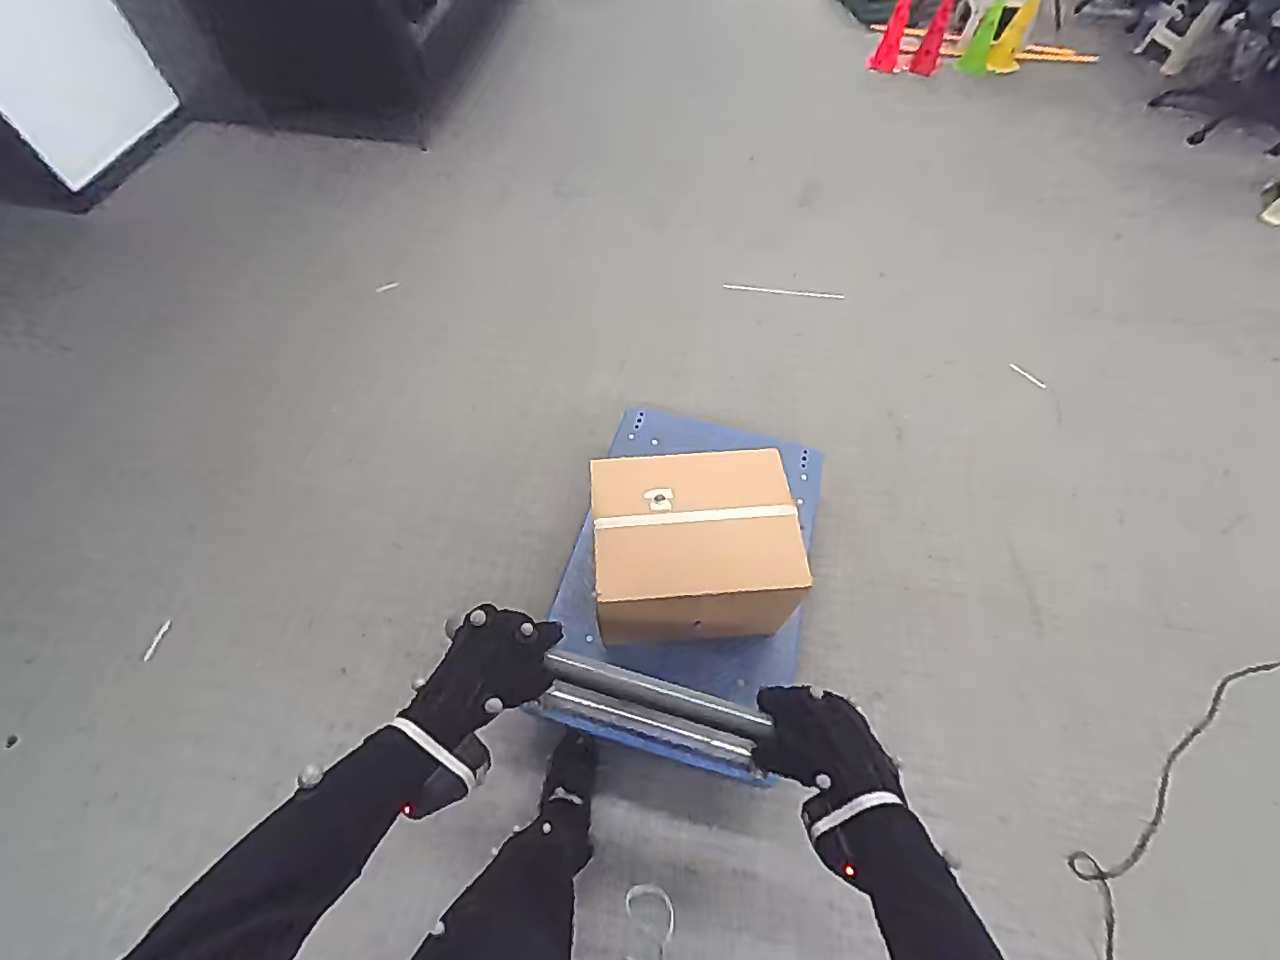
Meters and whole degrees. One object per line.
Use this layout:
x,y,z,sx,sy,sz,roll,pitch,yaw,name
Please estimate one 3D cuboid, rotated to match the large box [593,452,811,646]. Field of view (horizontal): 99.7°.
0.114,0.163,1.208,0.408,0.320,0.320,-5,57,-2,large box
